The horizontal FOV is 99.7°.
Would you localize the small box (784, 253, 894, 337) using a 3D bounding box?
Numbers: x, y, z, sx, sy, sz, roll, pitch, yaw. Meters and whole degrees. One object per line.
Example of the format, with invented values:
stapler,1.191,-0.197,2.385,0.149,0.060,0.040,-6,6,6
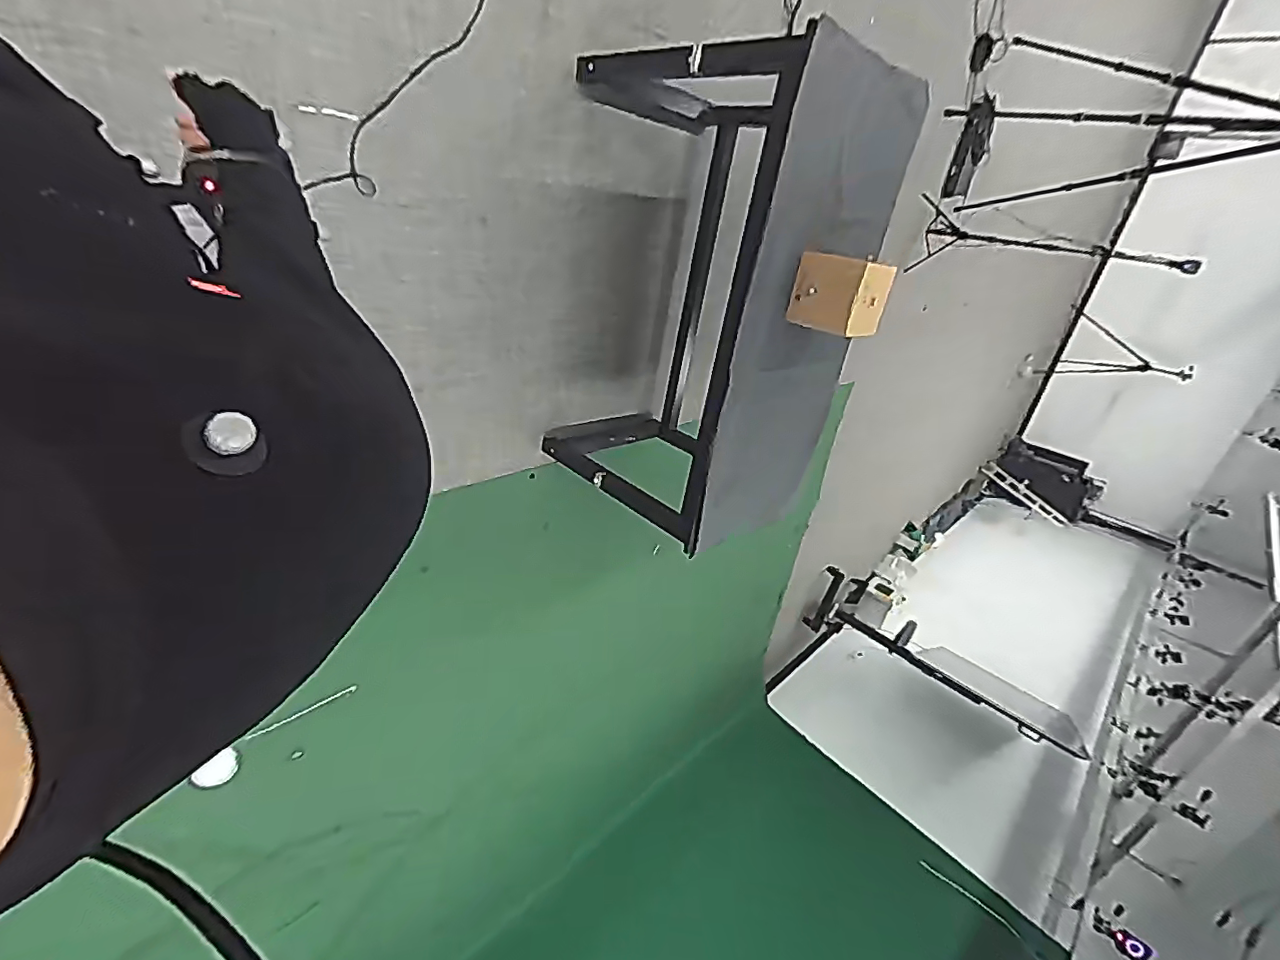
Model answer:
small box,0.488,-0.458,1.336,0.179,0.176,0.168,-16,126,-42
